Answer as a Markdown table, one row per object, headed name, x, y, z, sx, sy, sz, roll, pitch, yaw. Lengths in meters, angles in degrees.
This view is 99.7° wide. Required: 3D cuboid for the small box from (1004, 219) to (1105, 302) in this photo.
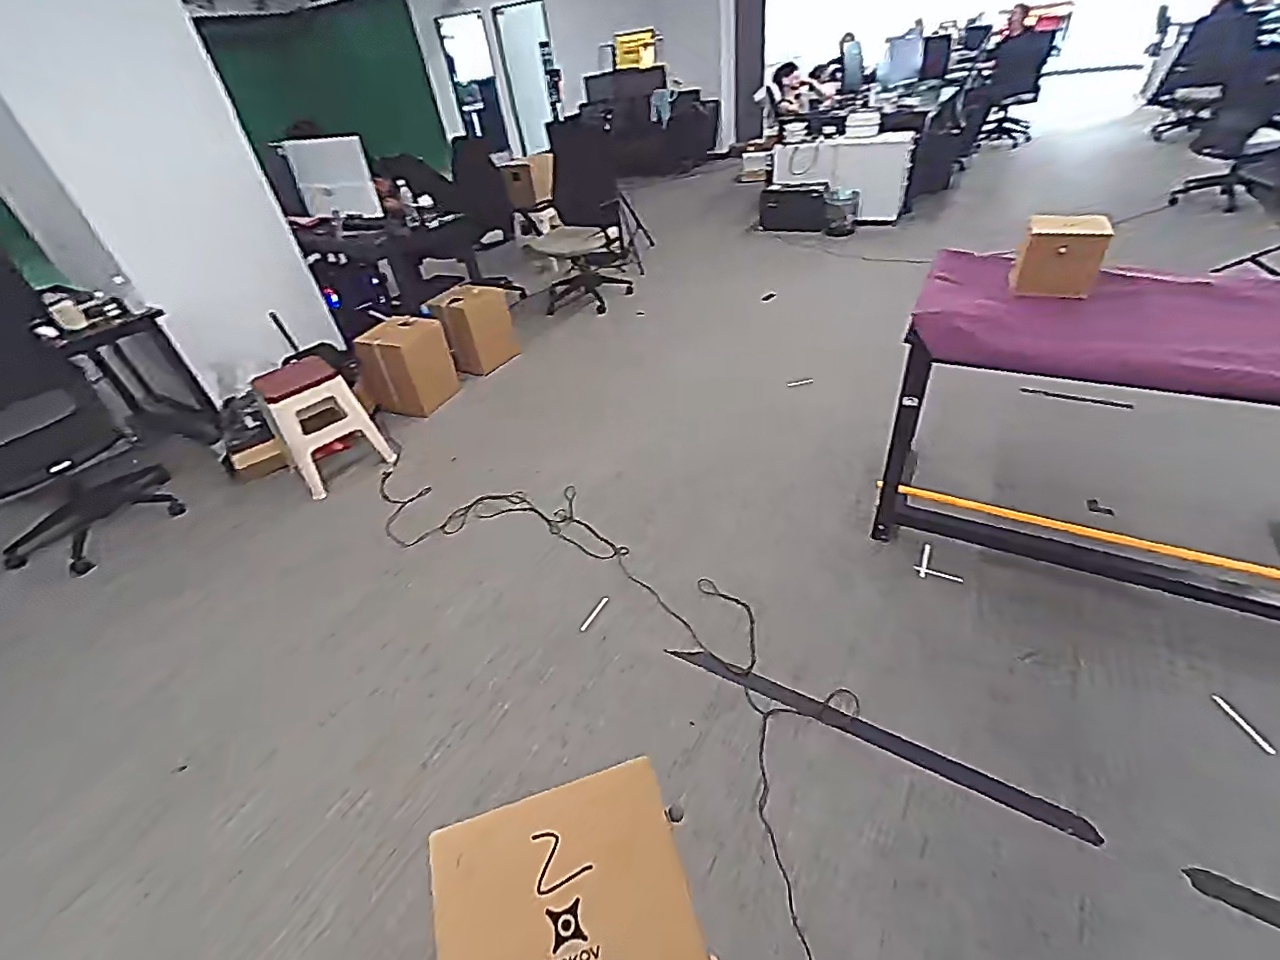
| name | x | y | z | sx | sy | sz | roll | pitch | yaw |
| --- | --- | --- | --- | --- | --- | --- | --- | --- | --- |
| small box | 1.126 | -0.600 | 1.482 | 0.179 | 0.176 | 0.168 | 13 | 43 | 24 |
